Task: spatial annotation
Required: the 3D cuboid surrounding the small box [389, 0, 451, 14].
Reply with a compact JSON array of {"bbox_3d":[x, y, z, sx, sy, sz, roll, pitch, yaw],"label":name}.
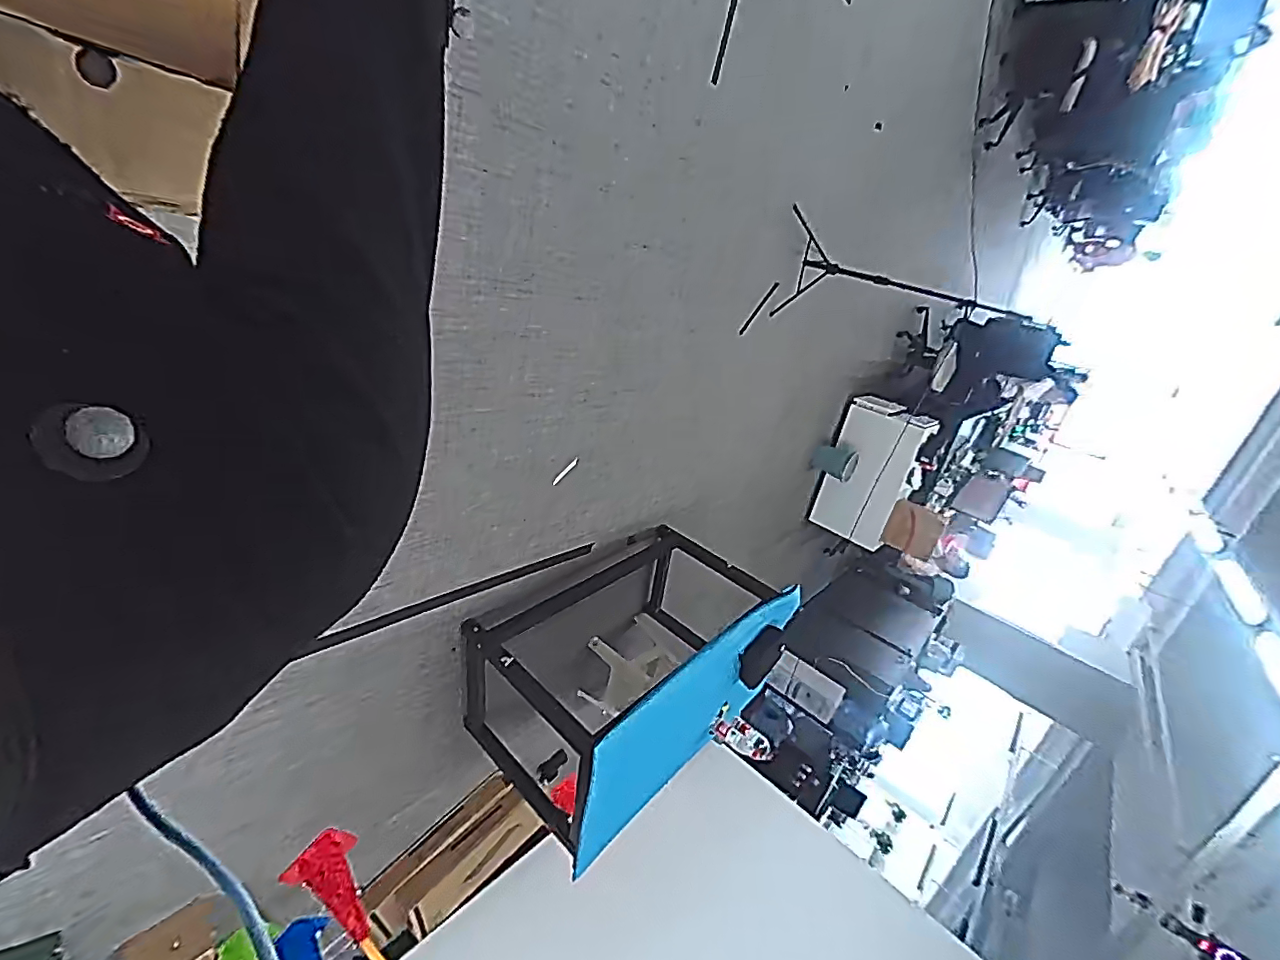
[{"bbox_3d":[-0.147,-0.330,0.202,0.179,0.176,0.168,7,121,-56],"label":"small box"}]
